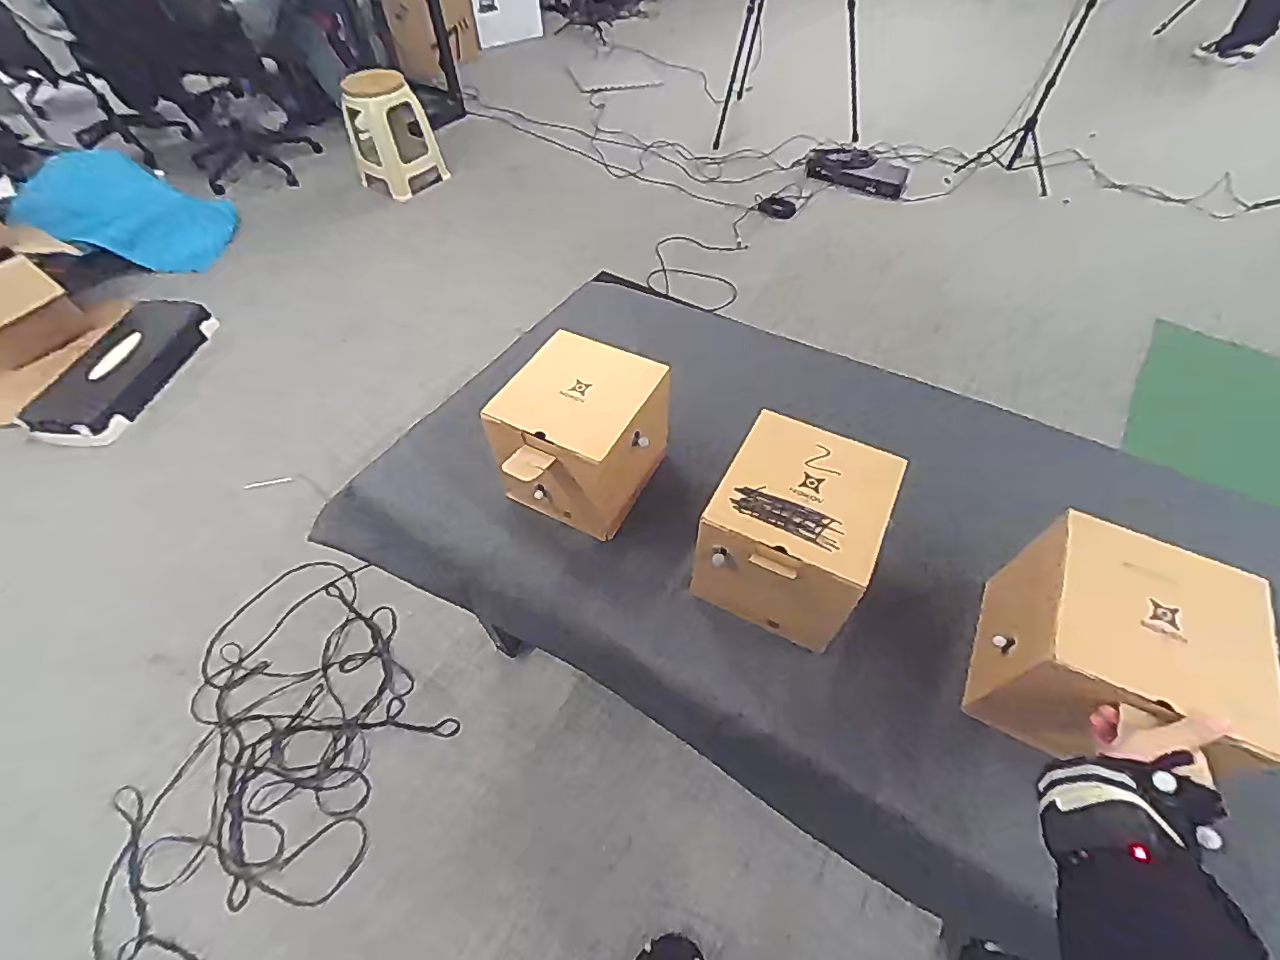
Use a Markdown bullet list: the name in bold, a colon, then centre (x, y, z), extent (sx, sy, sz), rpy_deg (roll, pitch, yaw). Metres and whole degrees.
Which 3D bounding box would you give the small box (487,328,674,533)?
- **small box**: centre (-0.070, -0.063, 0.713), extent (0.168, 0.176, 0.179), rpy_deg (23, 57, 16)

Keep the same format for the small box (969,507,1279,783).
- **small box**: centre (0.455, 0.166, 0.533), extent (0.168, 0.176, 0.179), rpy_deg (24, 56, 17)
